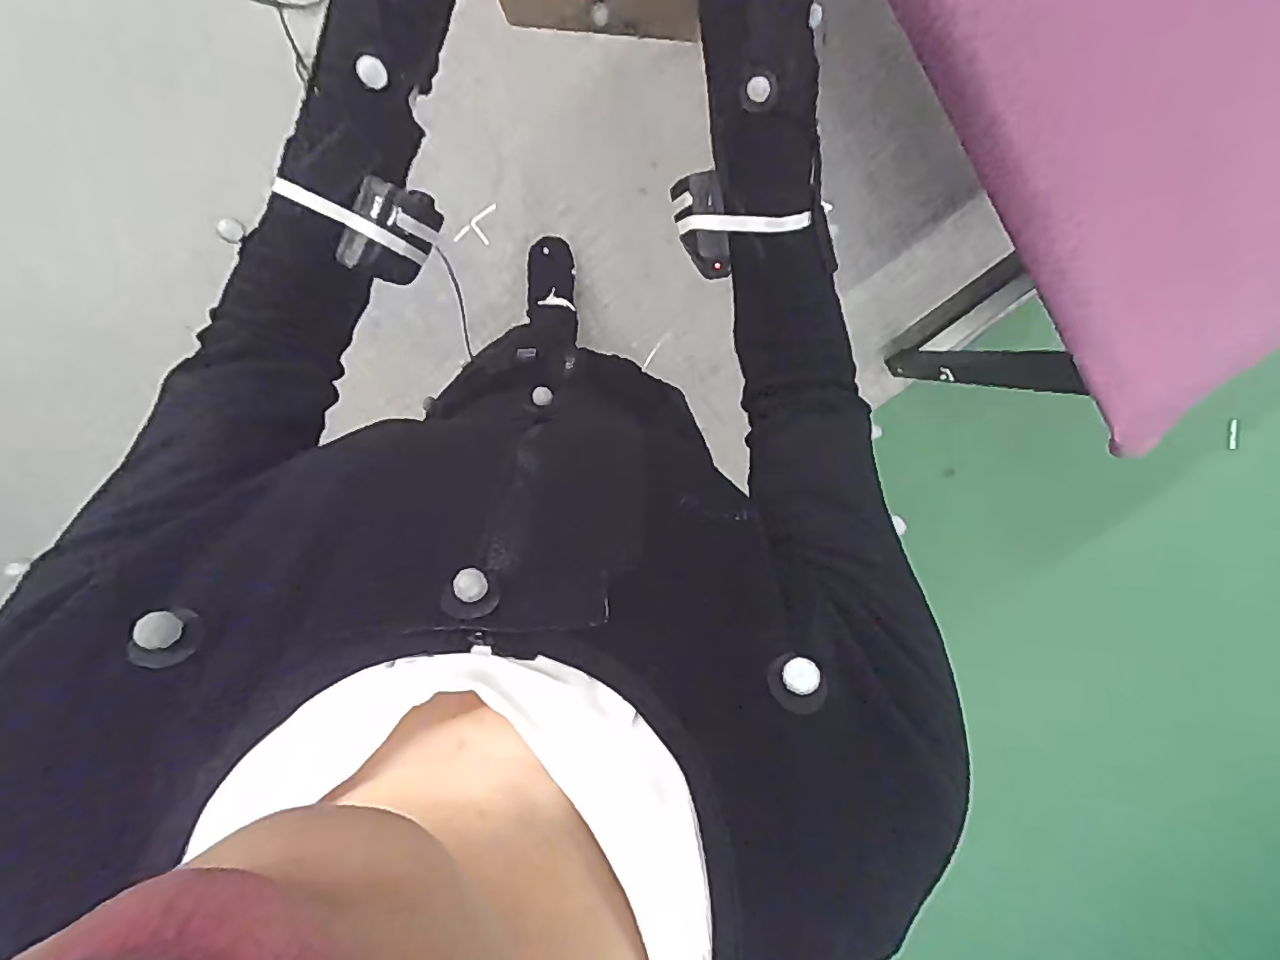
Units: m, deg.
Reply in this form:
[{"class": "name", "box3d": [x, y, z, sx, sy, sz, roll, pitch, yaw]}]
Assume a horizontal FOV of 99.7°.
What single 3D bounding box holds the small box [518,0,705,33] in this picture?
[{"class": "small box", "box3d": [-0.022, -0.450, 0.359, 0.168, 0.176, 0.179, 4, 107, -2]}]
